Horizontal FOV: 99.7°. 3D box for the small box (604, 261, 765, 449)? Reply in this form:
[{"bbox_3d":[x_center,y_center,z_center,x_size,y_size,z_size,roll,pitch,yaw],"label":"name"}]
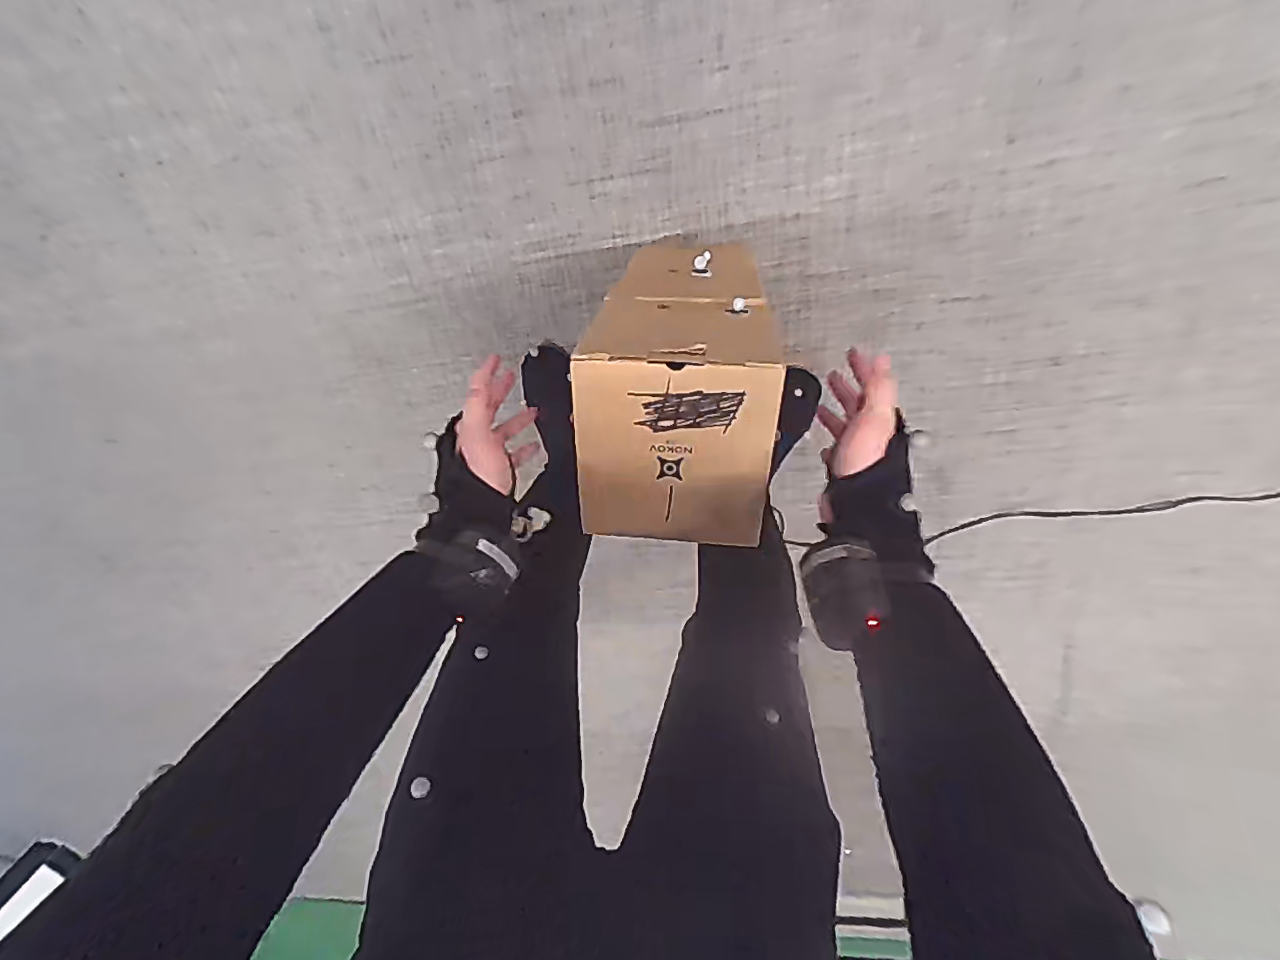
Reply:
[{"bbox_3d":[0.056,-0.155,0.650,0.168,0.176,0.179,2,122,7],"label":"small box"}]

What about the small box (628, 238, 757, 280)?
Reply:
[{"bbox_3d":[0.077,-0.241,0.786,0.168,0.176,0.179,4,123,7],"label":"small box"}]
